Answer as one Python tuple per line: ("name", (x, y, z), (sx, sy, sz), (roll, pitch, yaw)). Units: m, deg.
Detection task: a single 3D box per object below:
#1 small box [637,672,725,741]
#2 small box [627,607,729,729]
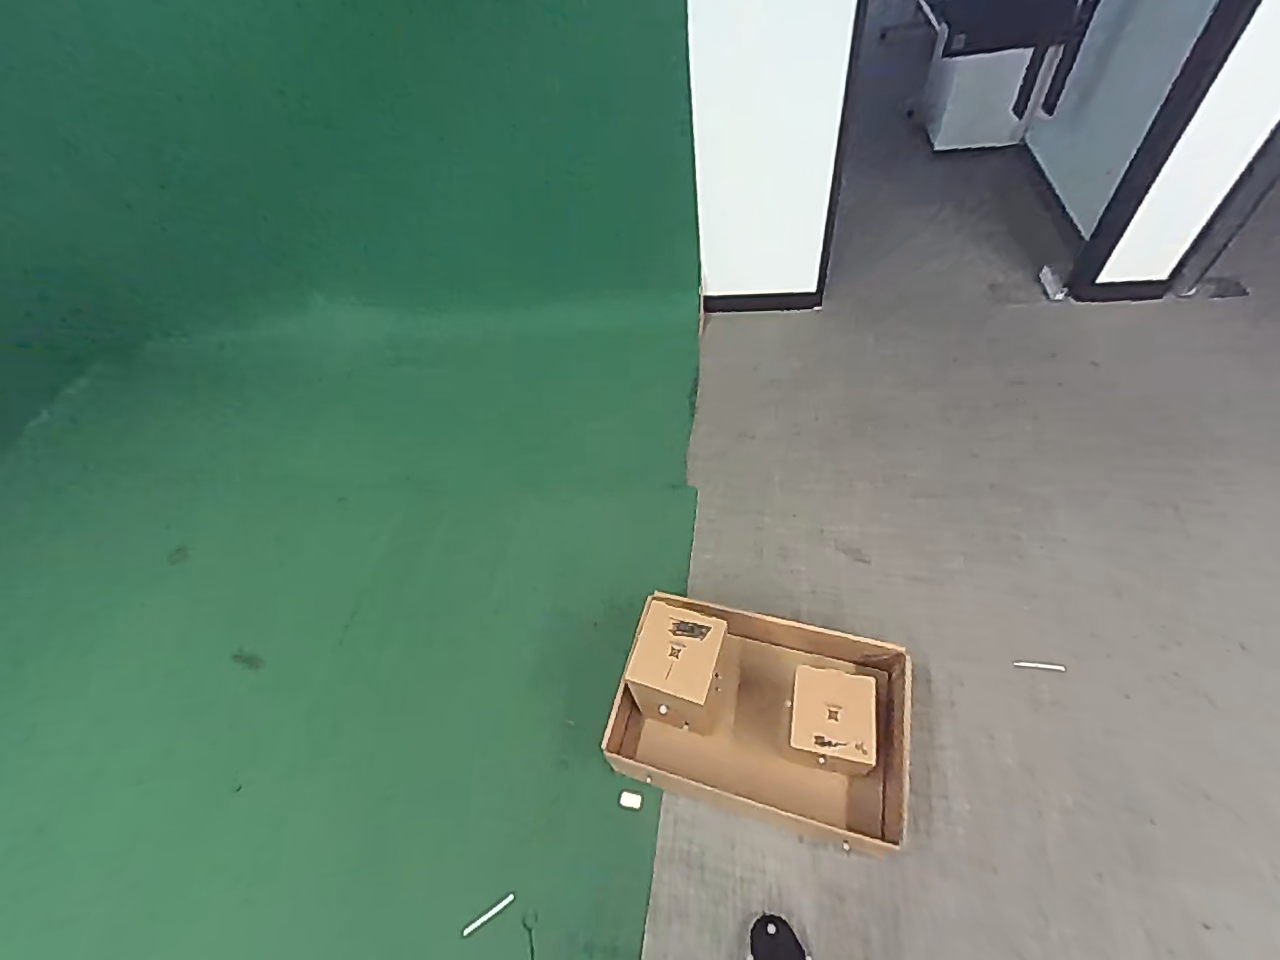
("small box", (0.104, 0.494, 1.278), (0.168, 0.176, 0.179), (11, 56, 16))
("small box", (0.086, 0.399, 1.145), (0.168, 0.176, 0.179), (12, 58, 17))
